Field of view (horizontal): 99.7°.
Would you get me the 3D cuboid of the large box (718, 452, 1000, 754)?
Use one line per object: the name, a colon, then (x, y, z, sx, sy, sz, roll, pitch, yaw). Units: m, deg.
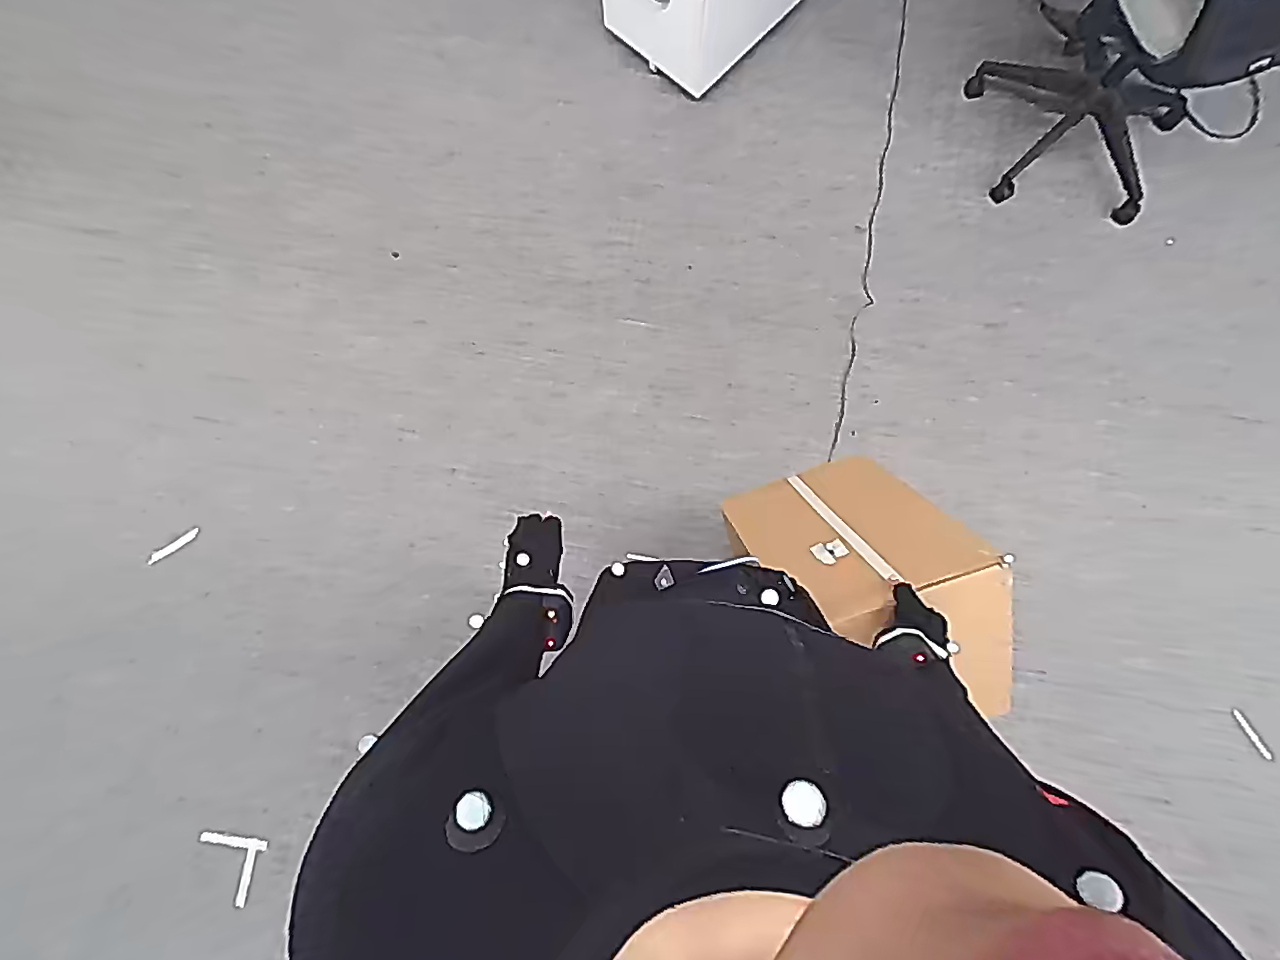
large box: (0.373, 0.199, 1.000, 0.320, 0.408, 0.320, -19, 117, 0)
